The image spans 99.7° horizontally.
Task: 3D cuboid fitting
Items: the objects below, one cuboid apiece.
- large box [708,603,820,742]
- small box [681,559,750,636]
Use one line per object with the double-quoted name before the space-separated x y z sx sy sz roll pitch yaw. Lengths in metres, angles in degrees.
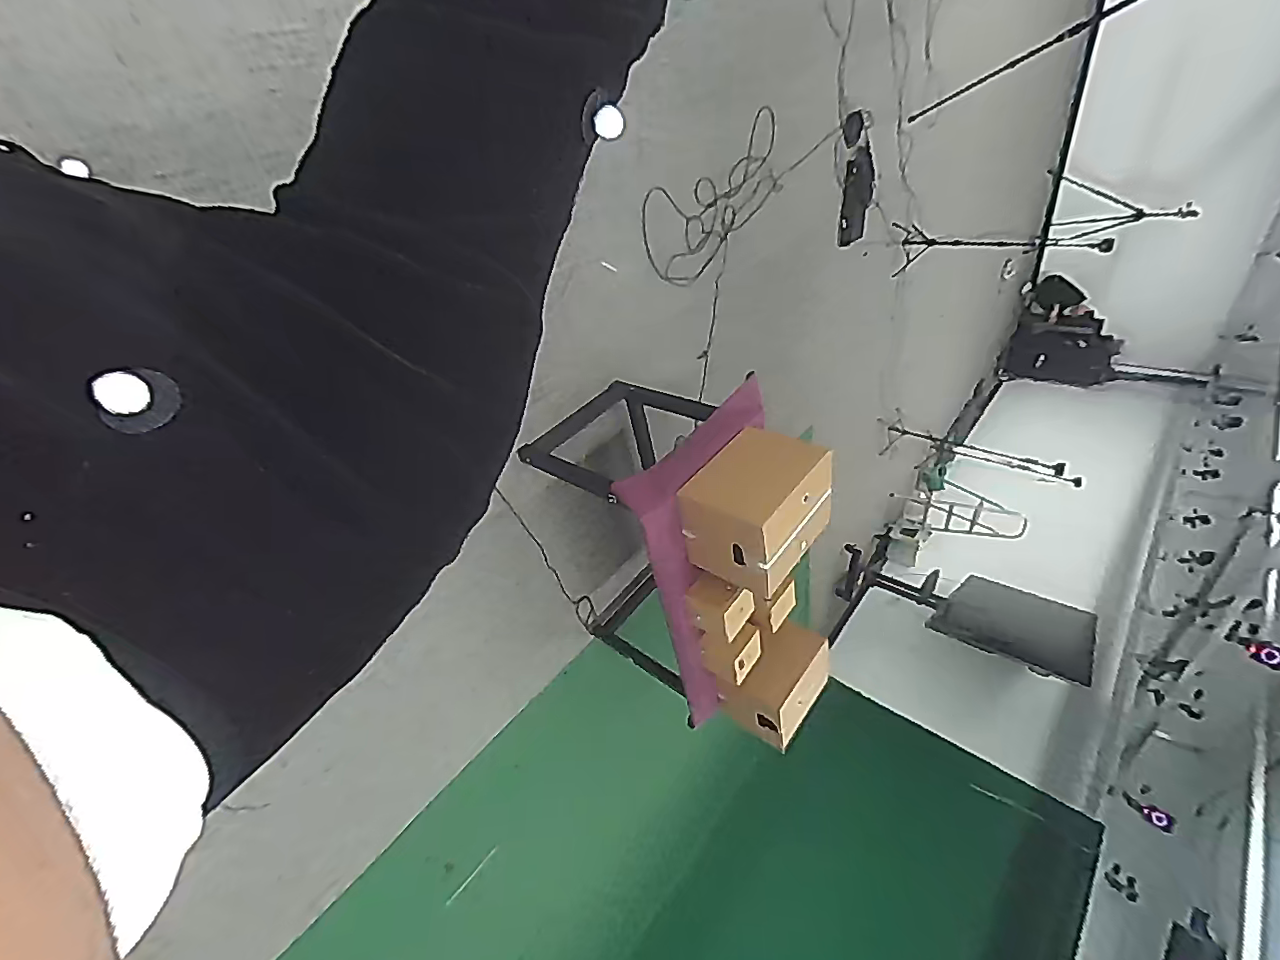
"large box" 0.547 0.821 2.355 0.408 0.320 0.320 -40 133 -32
"small box" 0.270 0.411 1.925 0.179 0.176 0.168 -43 135 -31
